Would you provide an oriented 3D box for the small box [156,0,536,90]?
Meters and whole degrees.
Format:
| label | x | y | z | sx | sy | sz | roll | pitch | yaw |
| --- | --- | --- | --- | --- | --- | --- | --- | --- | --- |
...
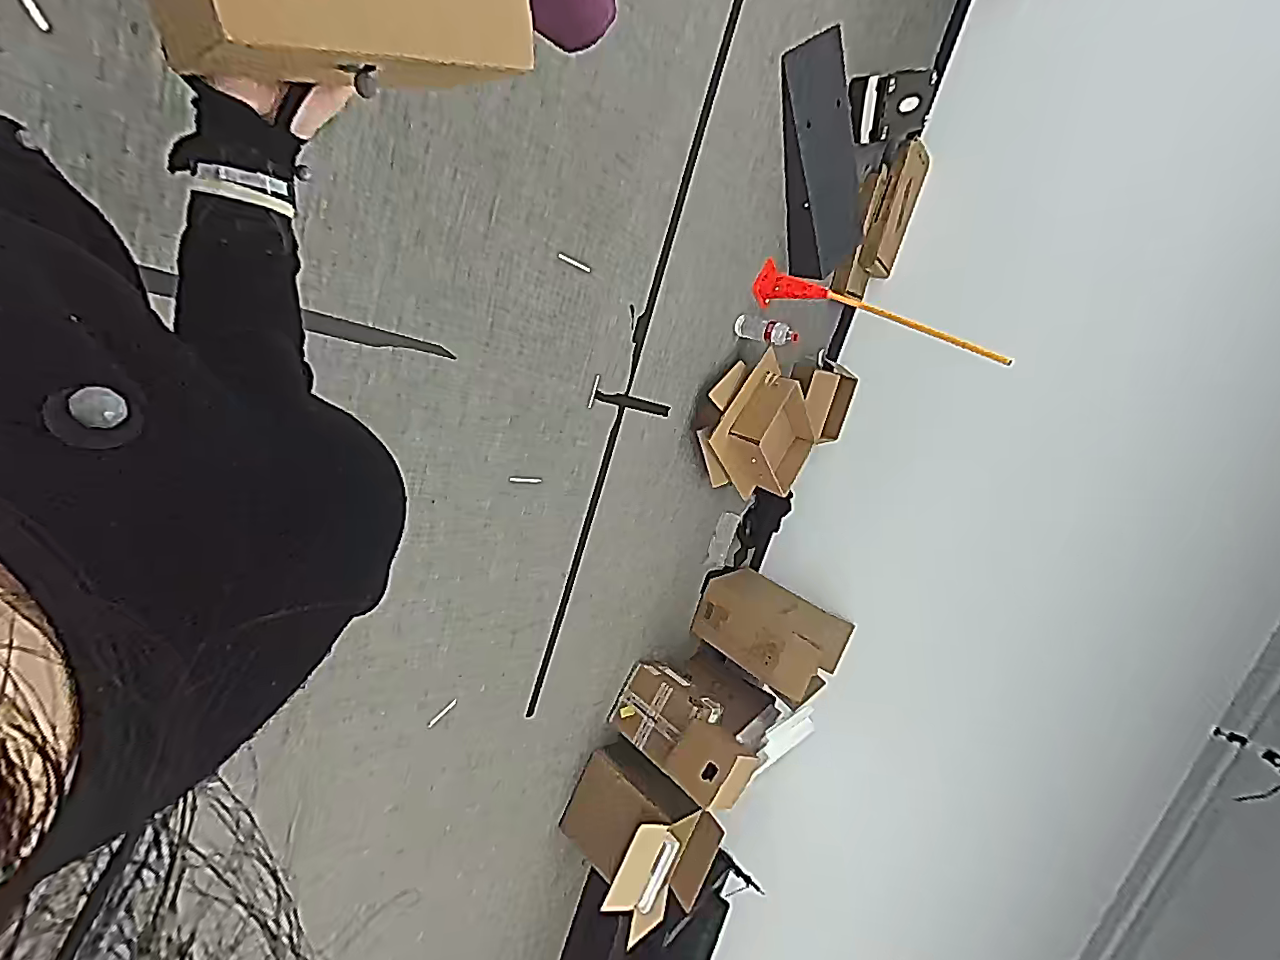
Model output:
| label | x | y | z | sx | sy | sz | roll | pitch | yaw |
| --- | --- | --- | --- | --- | --- | --- | --- | --- | --- |
| small box | -0.186 | -0.335 | 0.313 | 0.179 | 0.176 | 0.168 | -27 | 131 | -36 |
